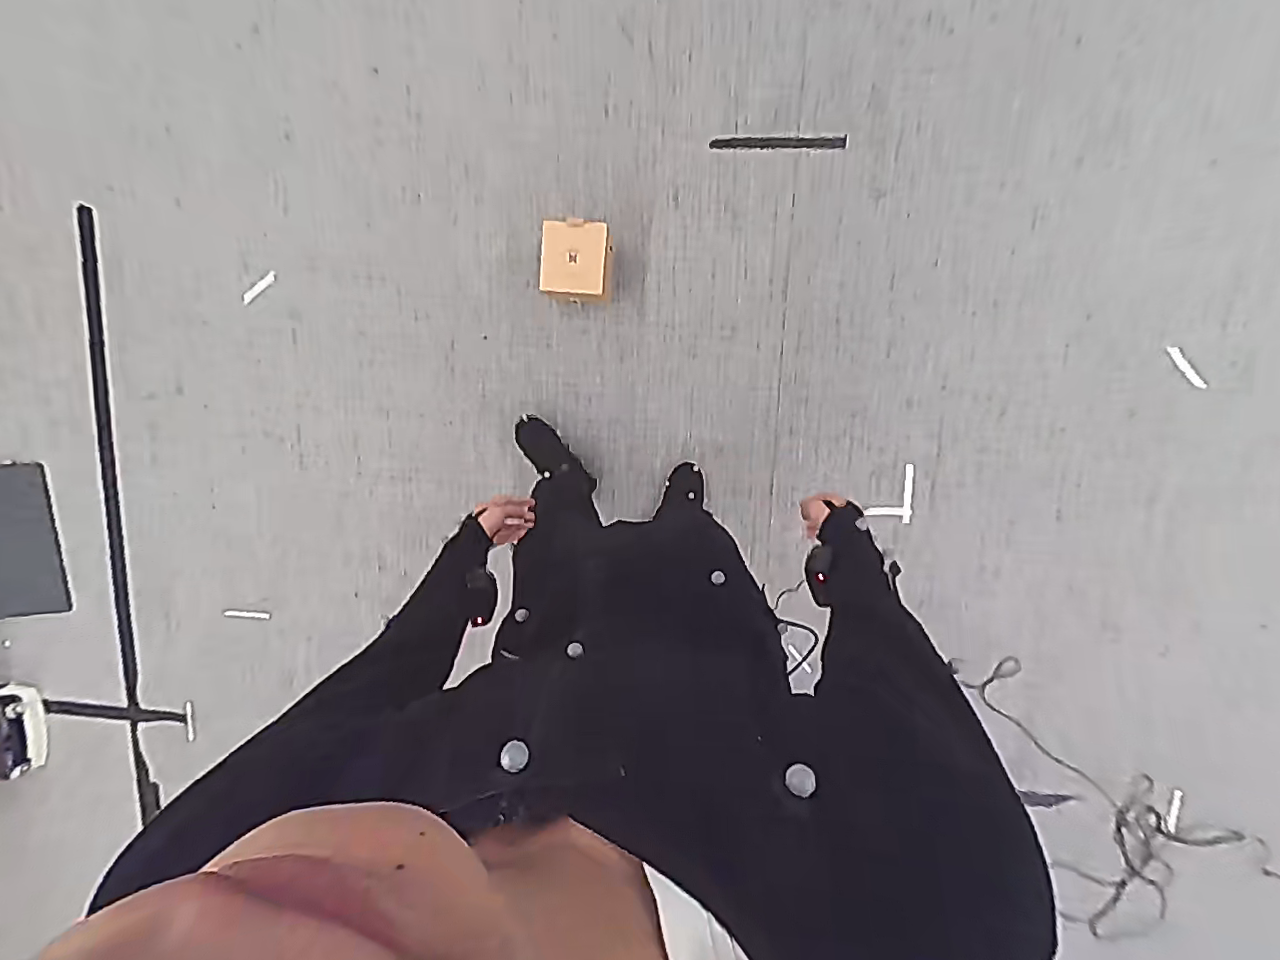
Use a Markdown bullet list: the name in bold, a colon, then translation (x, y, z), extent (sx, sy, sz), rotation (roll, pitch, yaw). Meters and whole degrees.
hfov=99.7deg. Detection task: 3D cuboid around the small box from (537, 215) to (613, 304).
- **small box**: translation (-0.167, -0.580, 1.436), extent (0.168, 0.176, 0.179), rotation (6, 98, 4)
